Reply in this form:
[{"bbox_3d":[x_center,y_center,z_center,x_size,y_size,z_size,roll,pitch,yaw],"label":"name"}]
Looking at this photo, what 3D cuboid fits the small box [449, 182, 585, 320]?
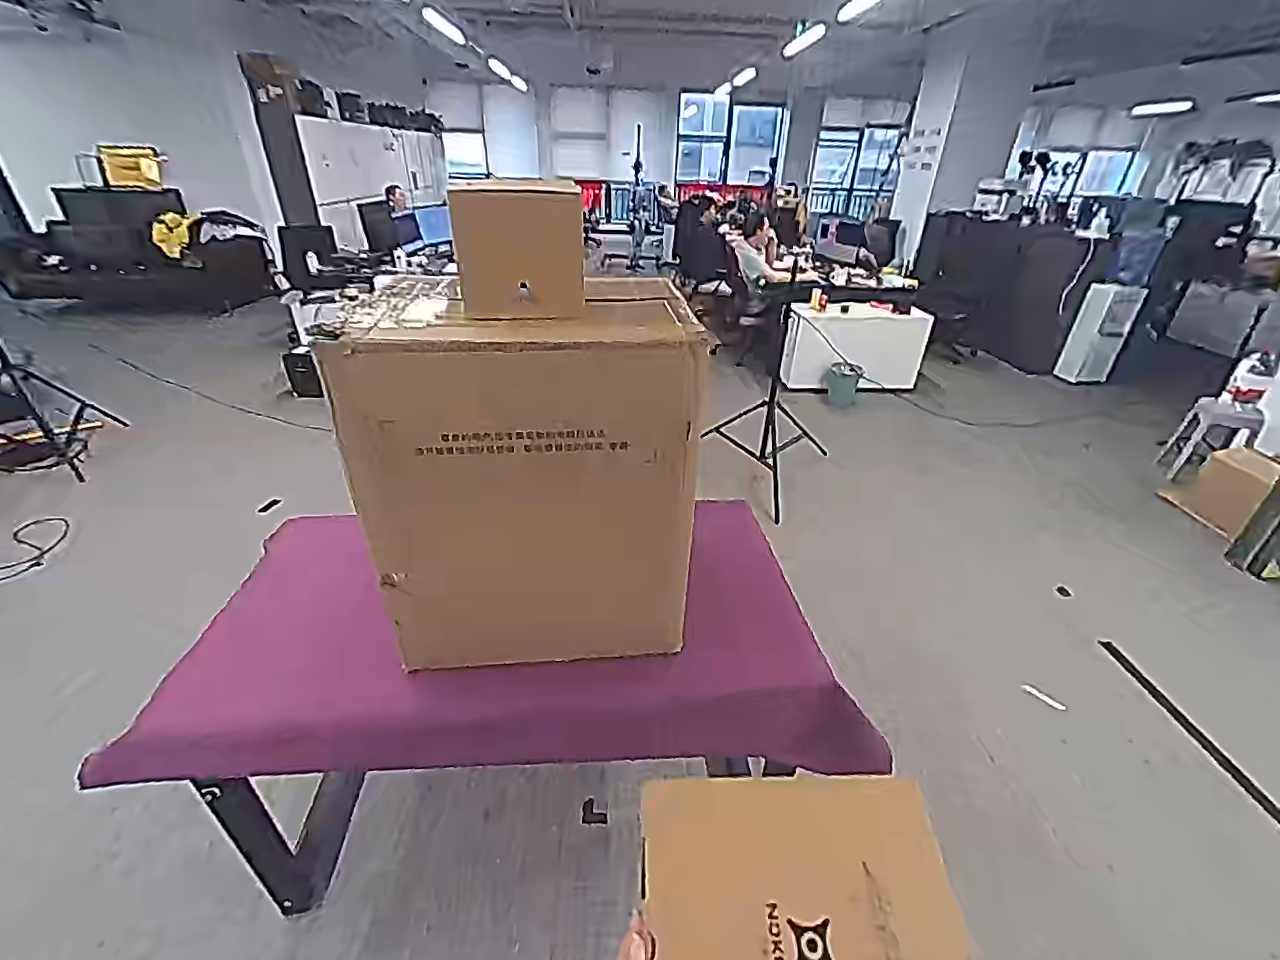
[{"bbox_3d":[-0.176,-0.344,0.815,0.179,0.176,0.168,-3,32,-9],"label":"small box"}]
